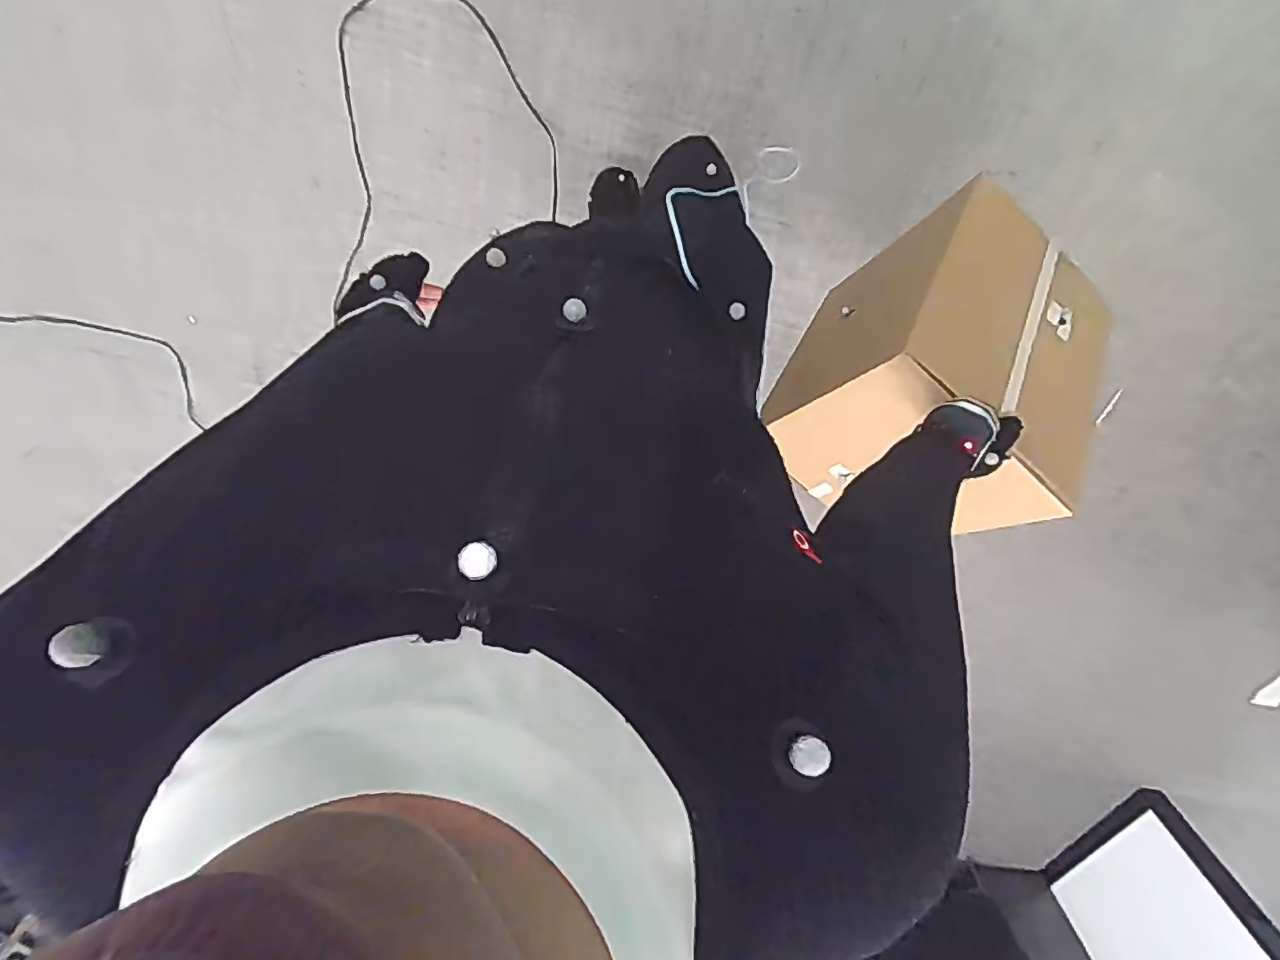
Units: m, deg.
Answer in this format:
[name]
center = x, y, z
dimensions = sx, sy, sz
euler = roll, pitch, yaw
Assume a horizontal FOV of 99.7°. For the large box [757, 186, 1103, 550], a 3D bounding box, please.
[large box]
center = 0.452, -0.153, 0.861
dimensions = 0.320, 0.408, 0.320
euler = 39, 153, -11
